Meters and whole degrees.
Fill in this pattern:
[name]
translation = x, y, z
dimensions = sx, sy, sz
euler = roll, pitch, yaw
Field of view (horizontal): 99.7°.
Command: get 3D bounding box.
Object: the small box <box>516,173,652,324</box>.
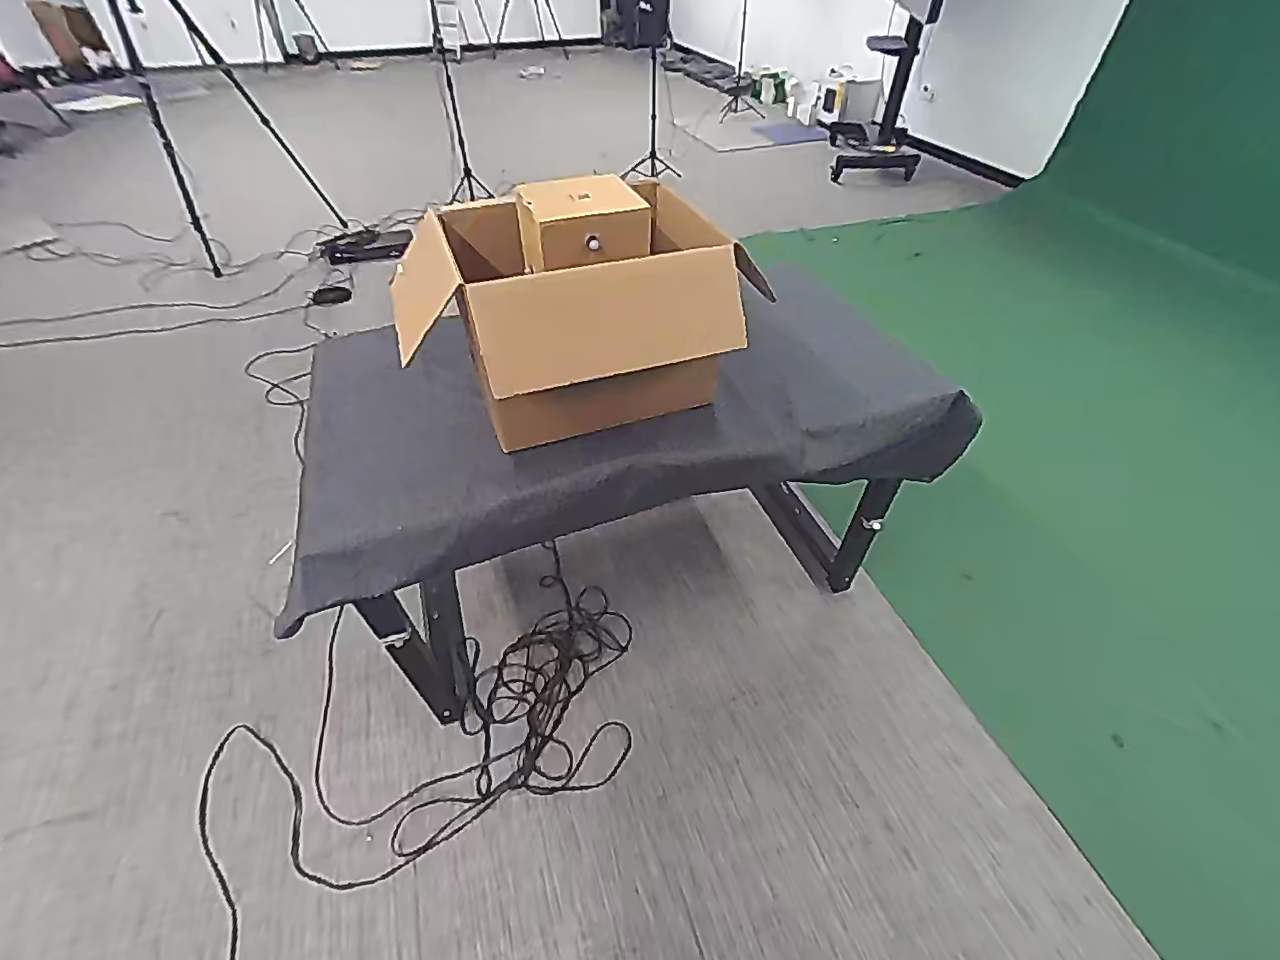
[small box]
translation = -0.091, -0.380, 0.889
dimensions = 0.179, 0.176, 0.168
euler = -15, 48, -15
